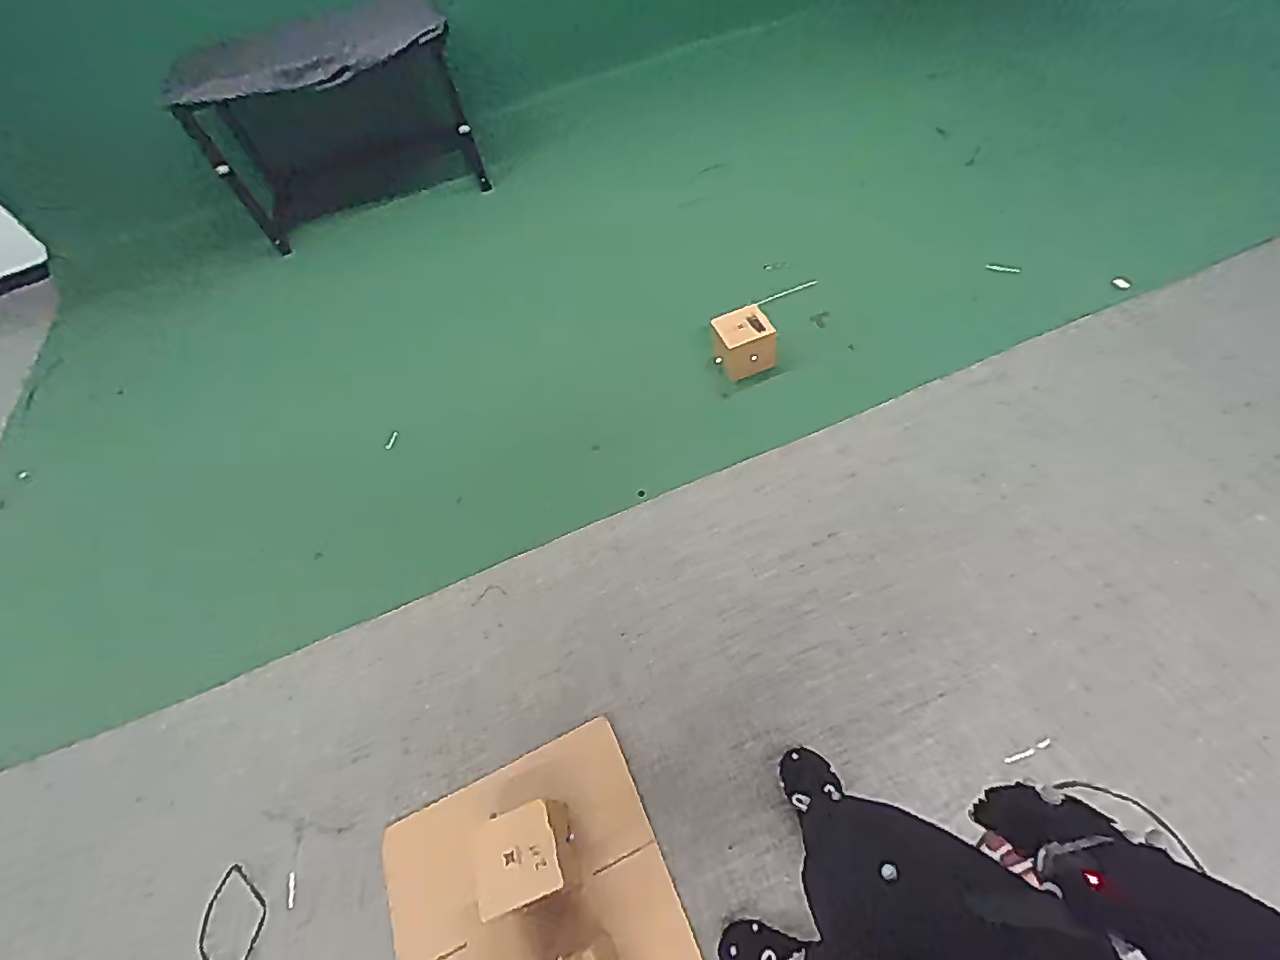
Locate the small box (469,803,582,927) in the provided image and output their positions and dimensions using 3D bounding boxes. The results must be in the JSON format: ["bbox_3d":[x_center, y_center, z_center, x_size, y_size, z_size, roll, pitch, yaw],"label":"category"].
[{"bbox_3d":[-0.242,0.820,1.162,0.179,0.176,0.168,-21,56,-5],"label":"small box"}]

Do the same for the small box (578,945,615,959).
[{"bbox_3d":[-0.114,1.014,1.006,0.179,0.176,0.168,-27,56,-8],"label":"small box"}]
